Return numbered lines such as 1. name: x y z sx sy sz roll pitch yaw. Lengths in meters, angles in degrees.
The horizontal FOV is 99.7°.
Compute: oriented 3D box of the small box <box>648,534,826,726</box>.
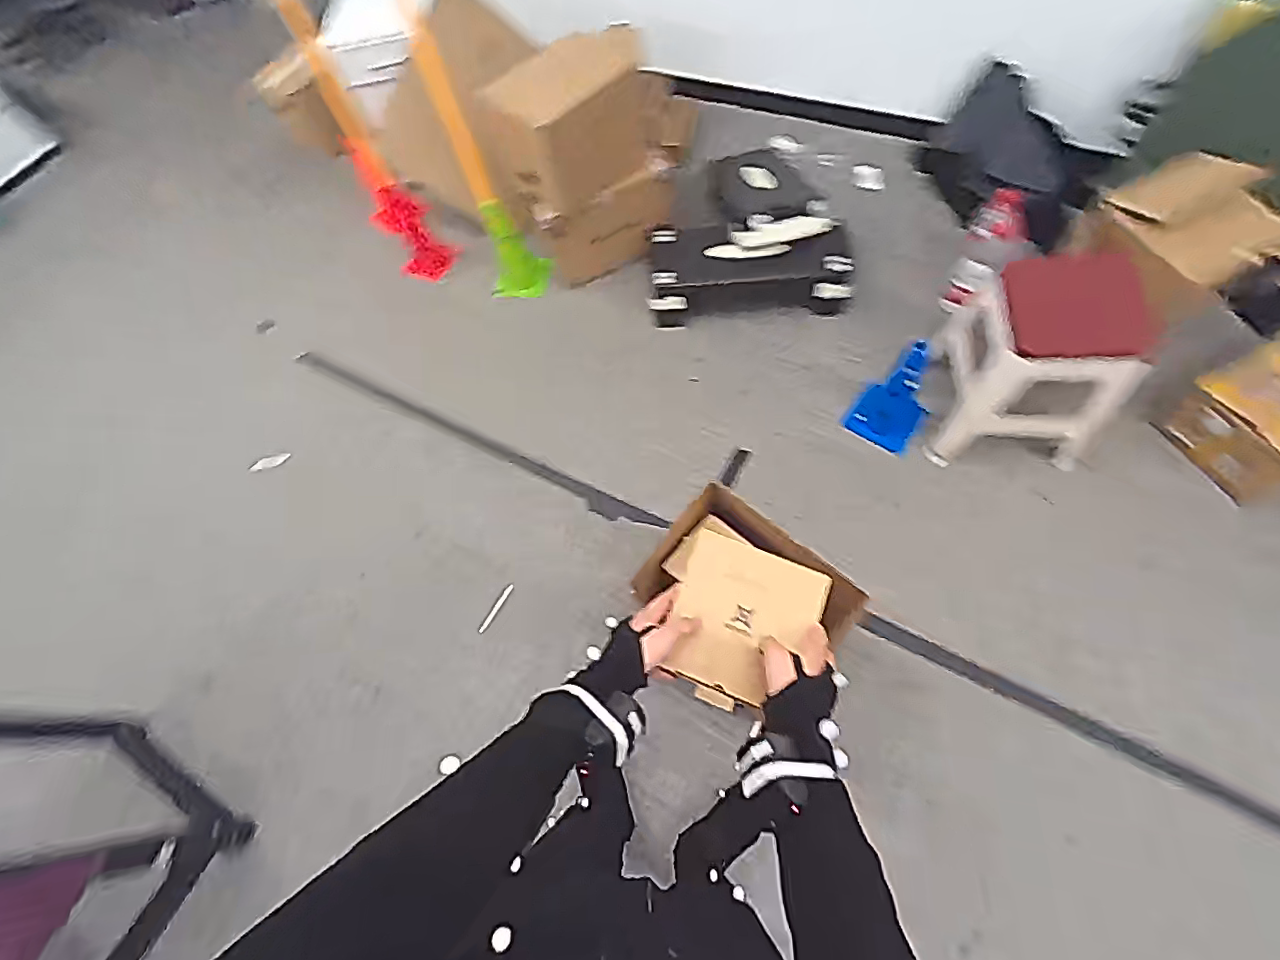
1. small box: 0.120 0.199 0.712 0.168 0.176 0.179 22 71 9
